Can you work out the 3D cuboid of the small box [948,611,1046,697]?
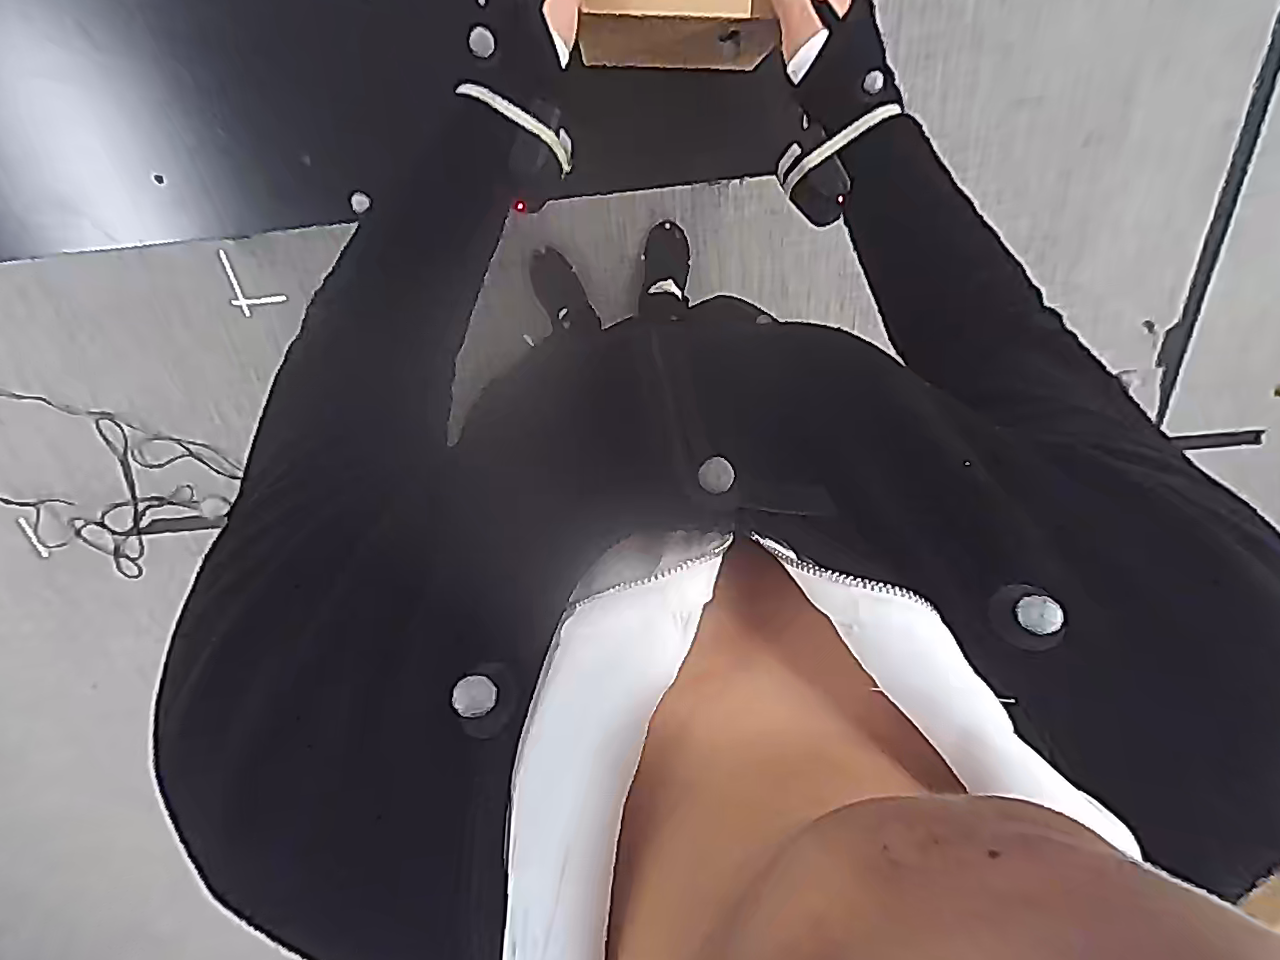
[{"bbox_3d":[1.041,0.503,1.594,0.168,0.176,0.179,-9,120,0],"label":"small box"}]

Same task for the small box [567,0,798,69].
[{"bbox_3d":[0.030,-0.456,0.442,0.179,0.176,0.168,0,117,-3],"label":"small box"}]
